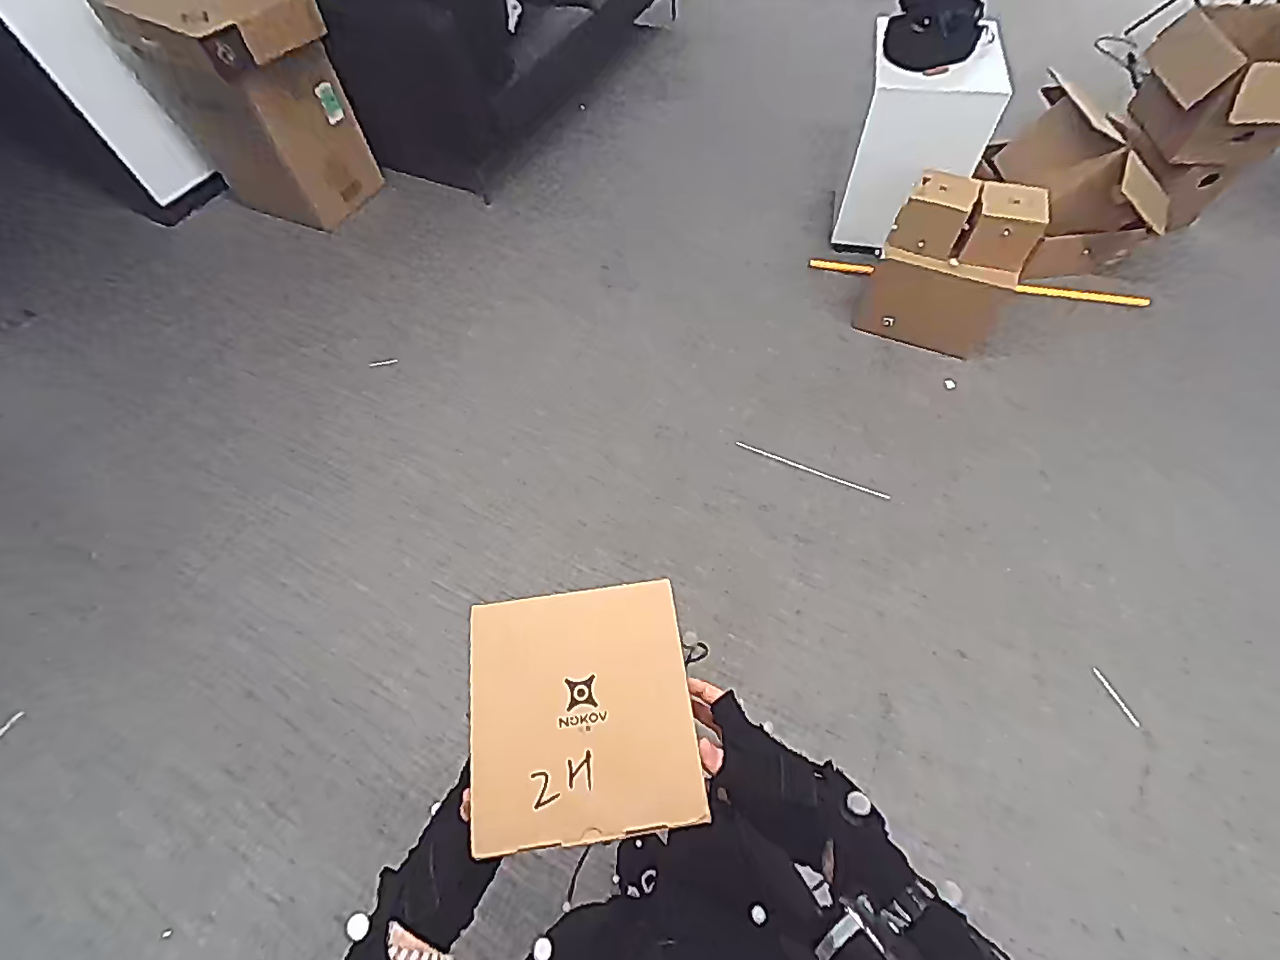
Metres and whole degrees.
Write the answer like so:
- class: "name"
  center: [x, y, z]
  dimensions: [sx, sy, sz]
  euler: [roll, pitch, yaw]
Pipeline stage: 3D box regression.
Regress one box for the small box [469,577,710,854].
- class: "small box"
  center: [-0.042, 0.200, 0.471]
  dimensions: [0.168, 0.176, 0.179]
  euler: [-7, 64, -2]
